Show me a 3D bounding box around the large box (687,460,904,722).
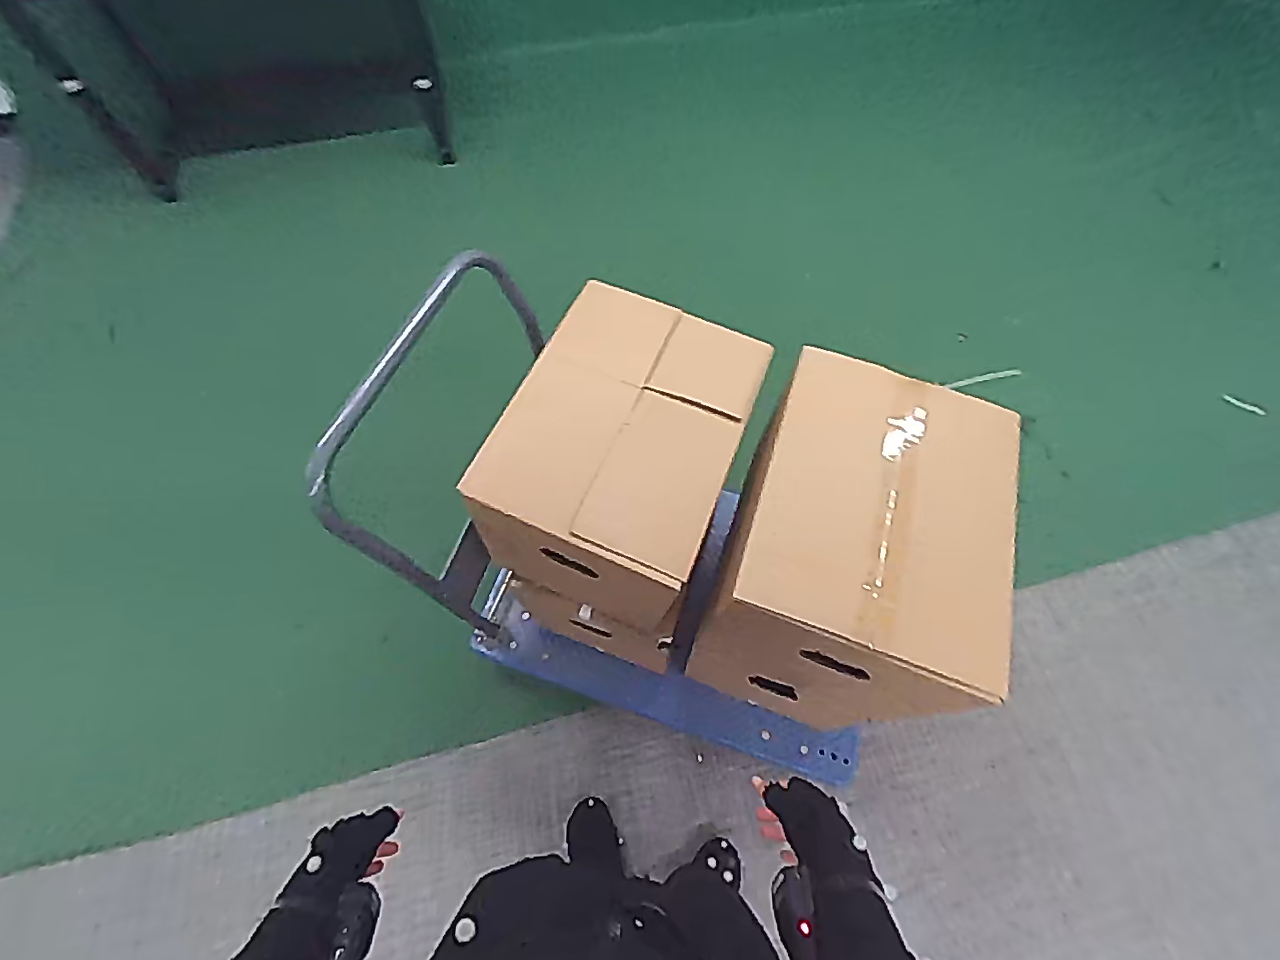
[{"bbox_3d":[0.302,0.233,1.108,0.320,0.320,0.408,16,65,12],"label":"large box"}]
